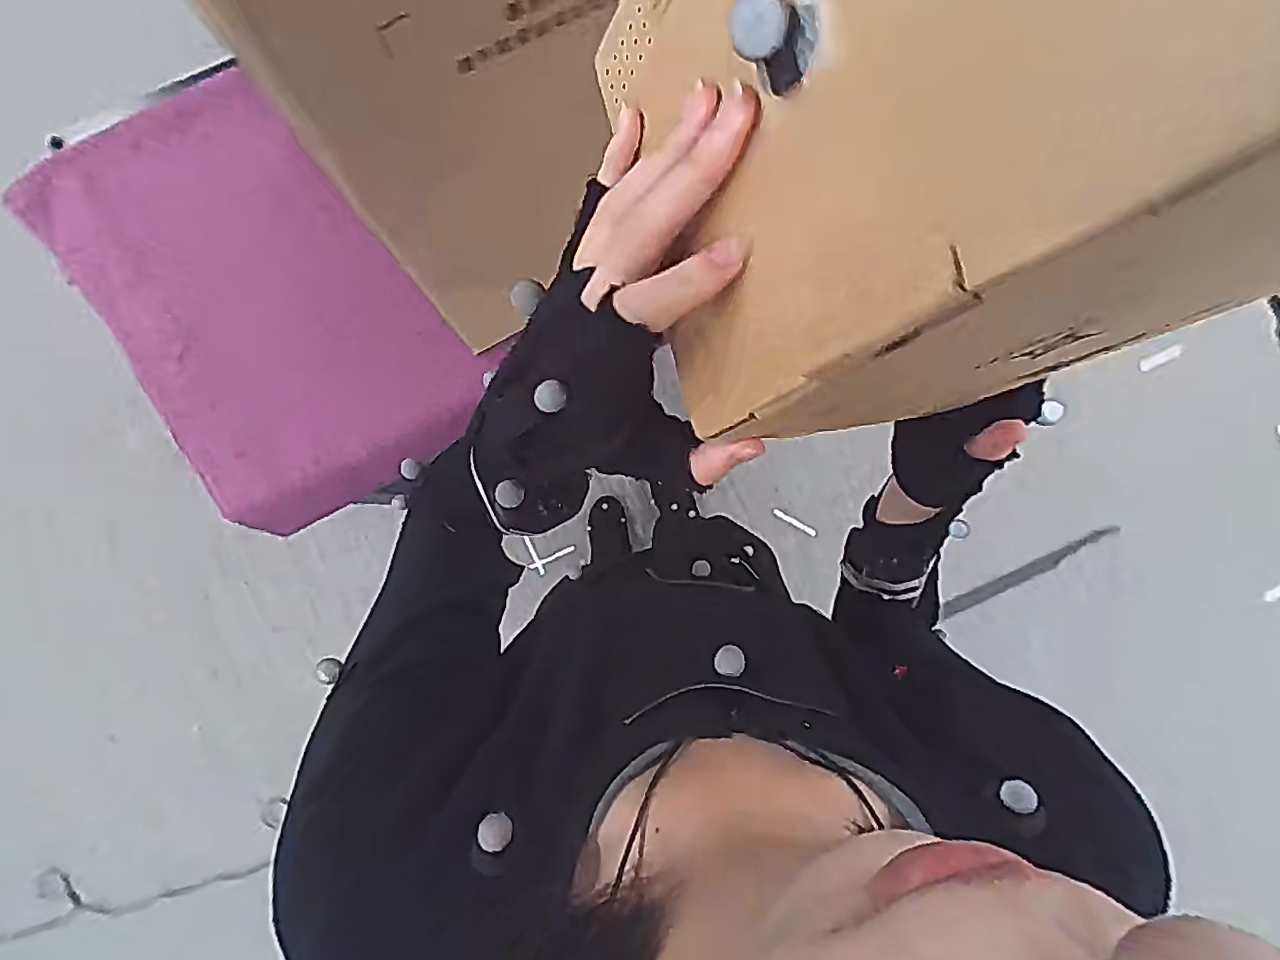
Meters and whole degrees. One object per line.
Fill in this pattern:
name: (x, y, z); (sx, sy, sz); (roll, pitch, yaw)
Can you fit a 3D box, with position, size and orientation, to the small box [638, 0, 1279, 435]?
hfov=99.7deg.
small box: (0.120, -0.124, 0.184); (0.179, 0.168, 0.176); (-8, 81, -34)
